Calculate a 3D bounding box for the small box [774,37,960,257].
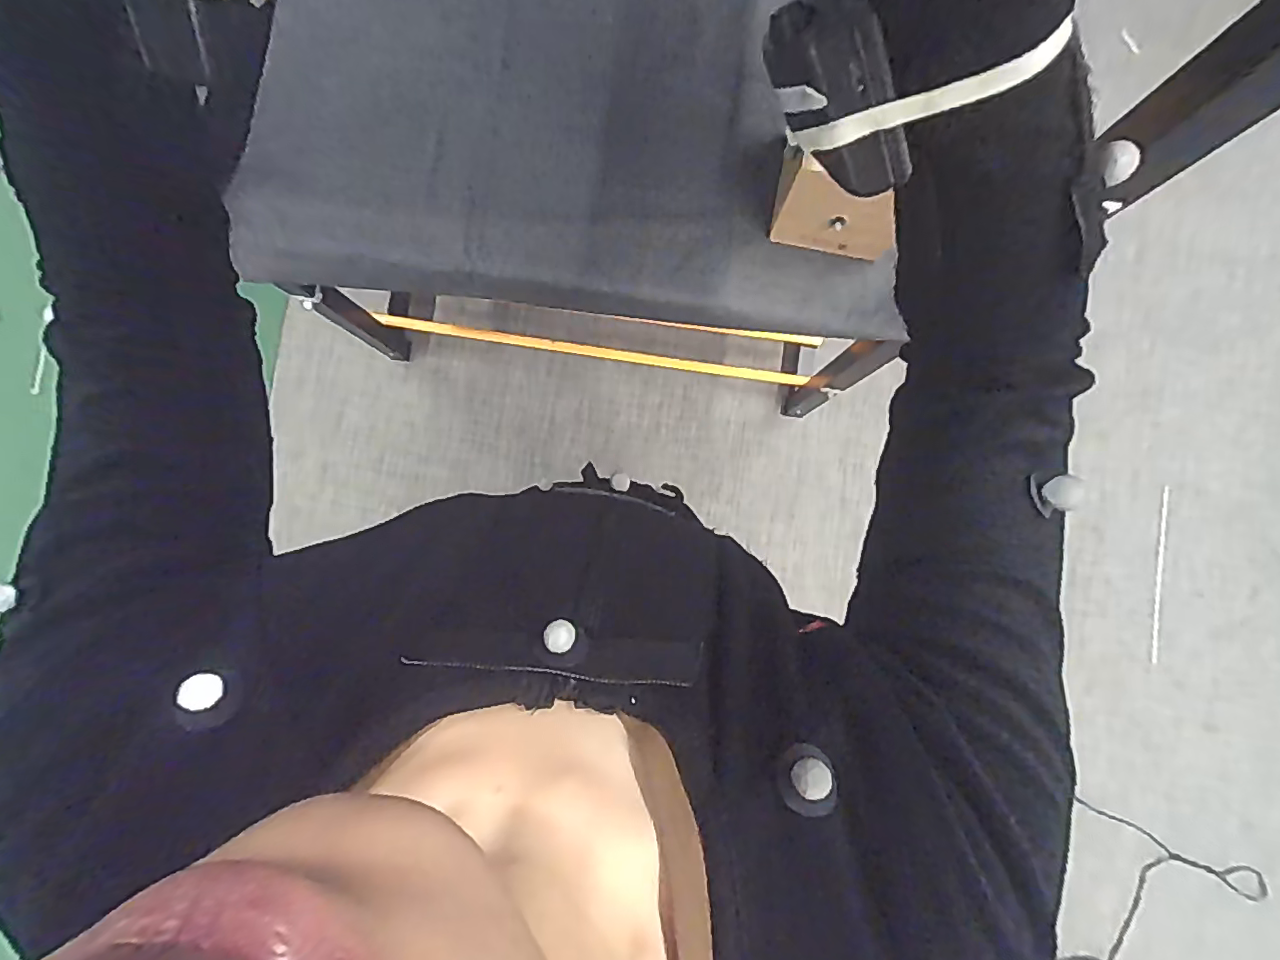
[{"bbox_3d":[0.288,-0.428,0.725,0.168,0.176,0.179,12,85,0],"label":"small box"}]
